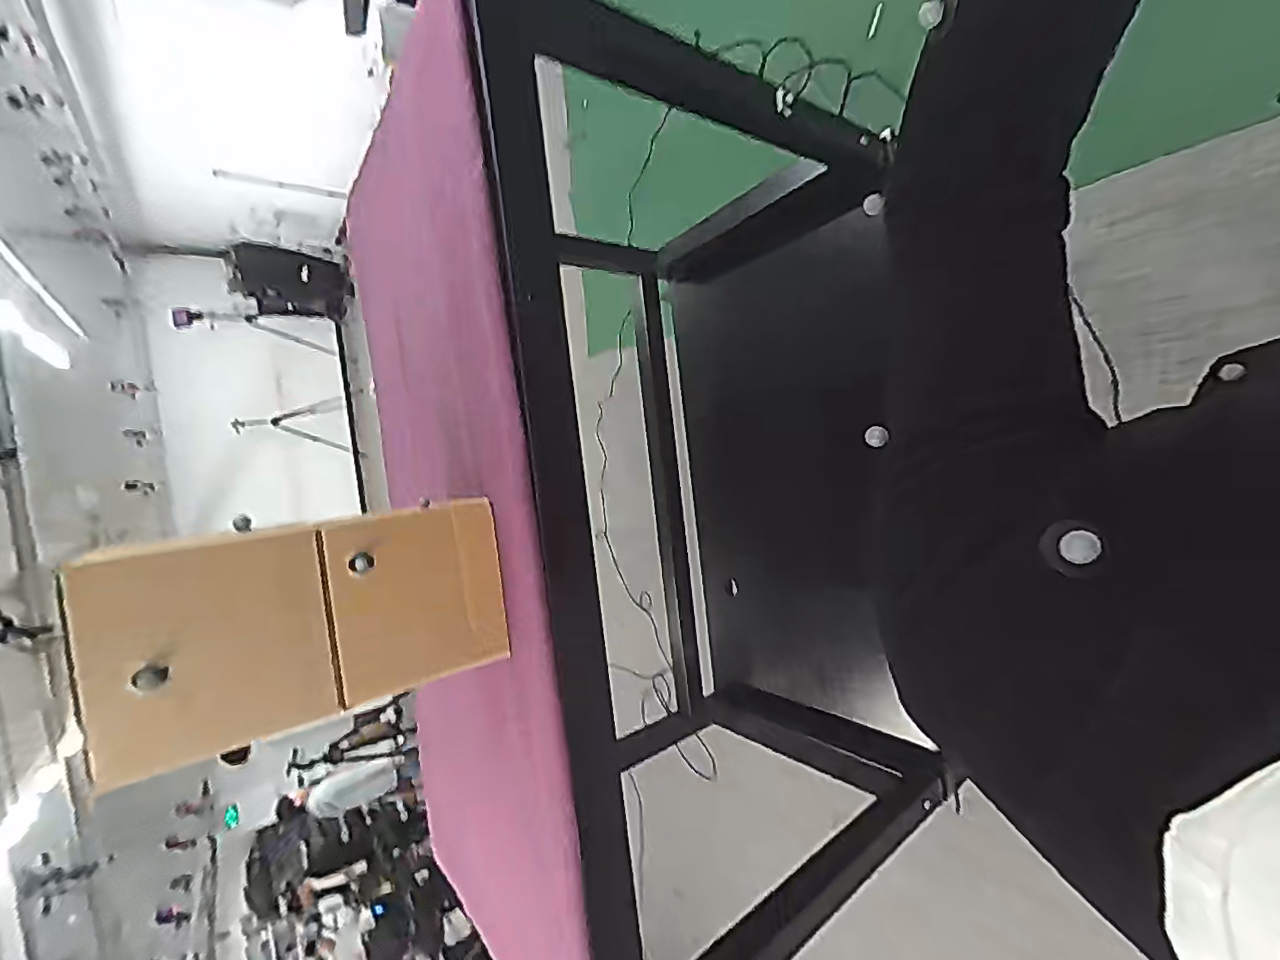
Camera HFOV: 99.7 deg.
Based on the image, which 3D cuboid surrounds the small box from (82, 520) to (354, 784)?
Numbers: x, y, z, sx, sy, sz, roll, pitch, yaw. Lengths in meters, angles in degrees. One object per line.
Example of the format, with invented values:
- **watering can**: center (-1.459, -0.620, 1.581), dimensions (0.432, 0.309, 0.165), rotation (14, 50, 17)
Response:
- **small box**: center (-0.384, 0.141, 0.519), dimensions (0.168, 0.176, 0.179), rotation (-3, 94, 55)

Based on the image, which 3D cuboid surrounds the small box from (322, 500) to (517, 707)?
- **small box**: center (-0.250, 0.122, 0.613), dimensions (0.168, 0.176, 0.179), rotation (-5, 92, 55)
